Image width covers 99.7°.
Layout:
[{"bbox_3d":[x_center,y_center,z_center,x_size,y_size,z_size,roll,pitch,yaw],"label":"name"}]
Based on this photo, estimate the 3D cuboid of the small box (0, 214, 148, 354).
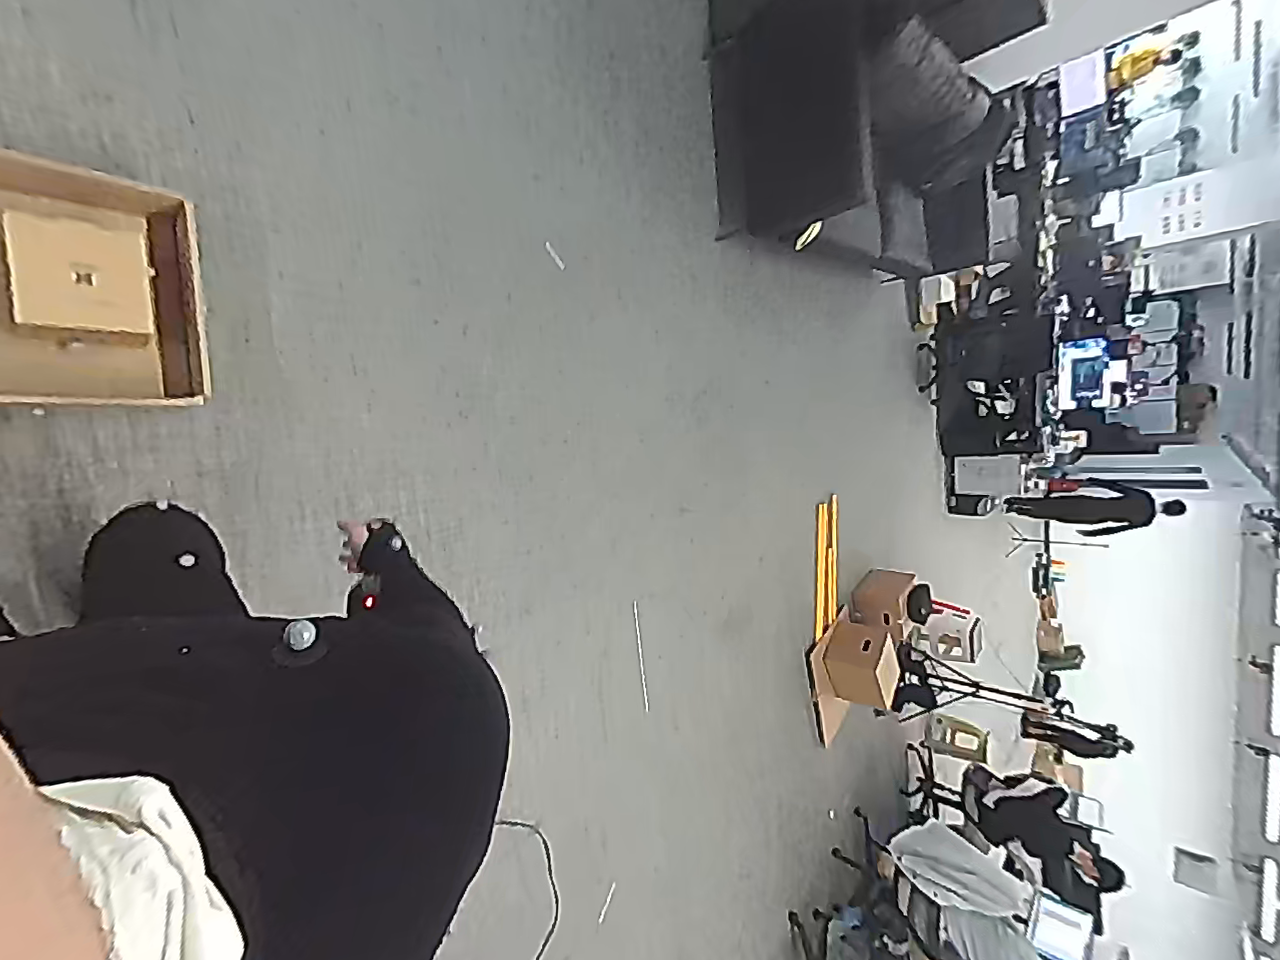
[{"bbox_3d":[-0.988,-0.329,0.948,0.168,0.176,0.179,-7,95,-46],"label":"small box"}]
